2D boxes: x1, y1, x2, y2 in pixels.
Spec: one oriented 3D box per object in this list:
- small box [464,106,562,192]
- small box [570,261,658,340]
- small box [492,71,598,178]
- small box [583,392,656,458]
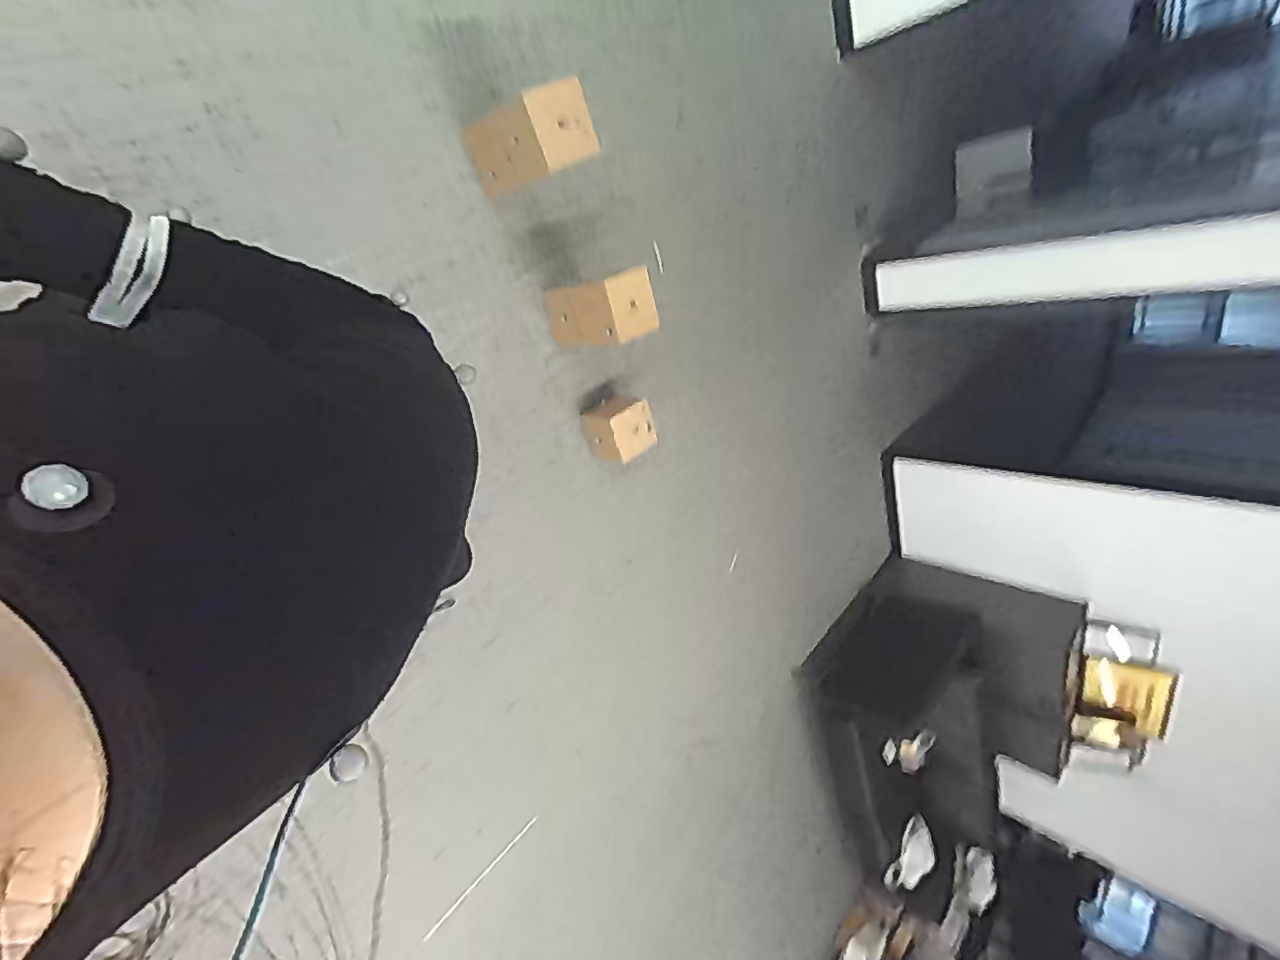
[{"bbox_3d":[-0.346,-0.897,1.451,0.179,0.176,0.168,-39,124,-30],"label":"small box"},{"bbox_3d":[-0.077,-0.514,1.562,0.168,0.176,0.179,-33,121,-32],"label":"small box"},{"bbox_3d":[-0.240,-0.867,1.329,0.179,0.176,0.168,-39,125,-29],"label":"small box"},{"bbox_3d":[-0.076,-0.195,1.863,0.179,0.176,0.168,-34,121,-31],"label":"small box"}]
